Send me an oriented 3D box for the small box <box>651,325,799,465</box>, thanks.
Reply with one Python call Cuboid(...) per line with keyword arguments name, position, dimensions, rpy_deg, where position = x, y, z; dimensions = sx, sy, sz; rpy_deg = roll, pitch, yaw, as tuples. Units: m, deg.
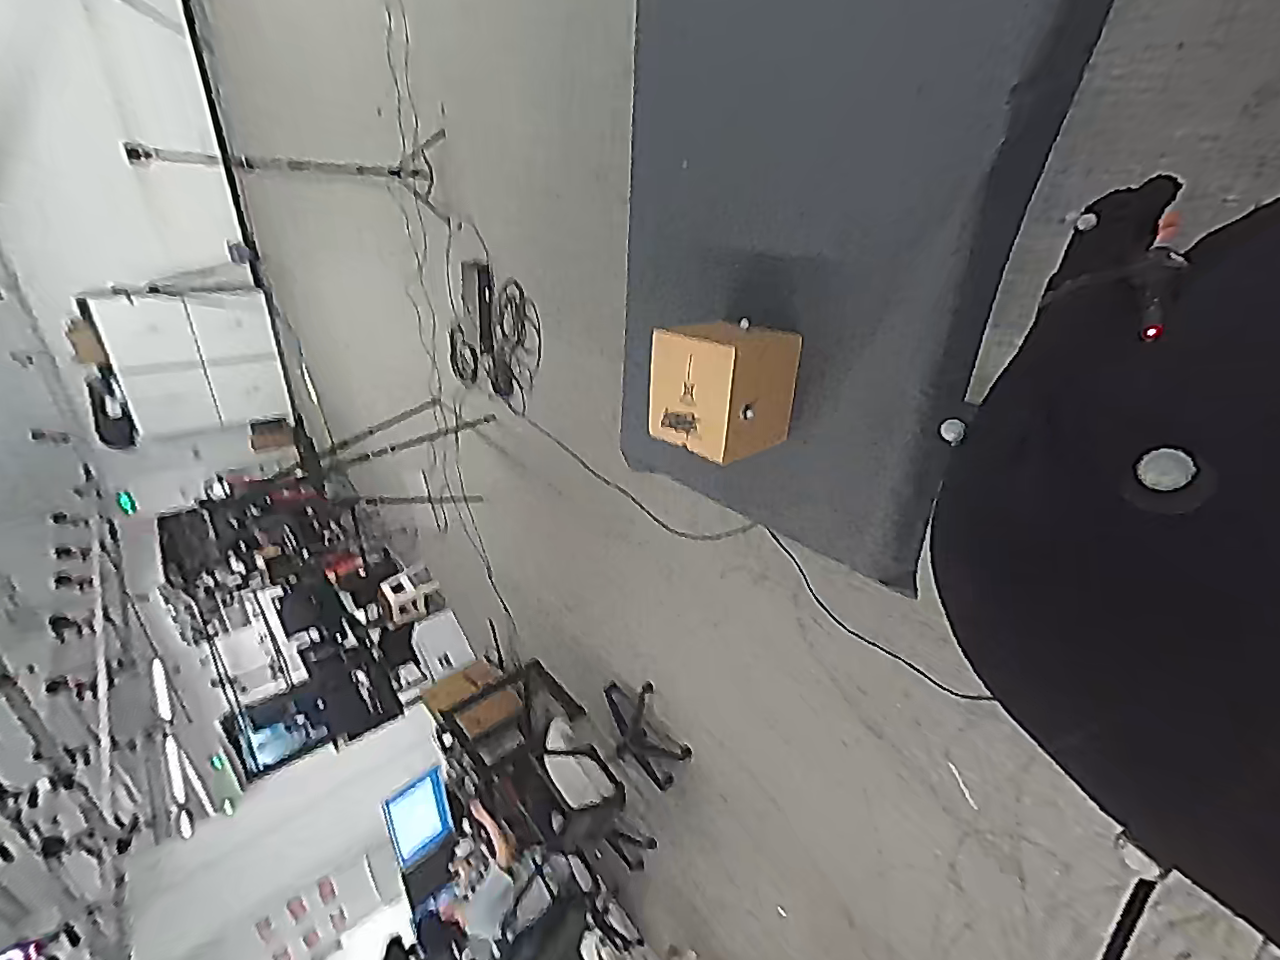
Cuboid(name="small box", position=(0.137, -0.147, 0.880), dimensions=(0.168, 0.176, 0.179), rpy_deg=(26, 124, 41))
